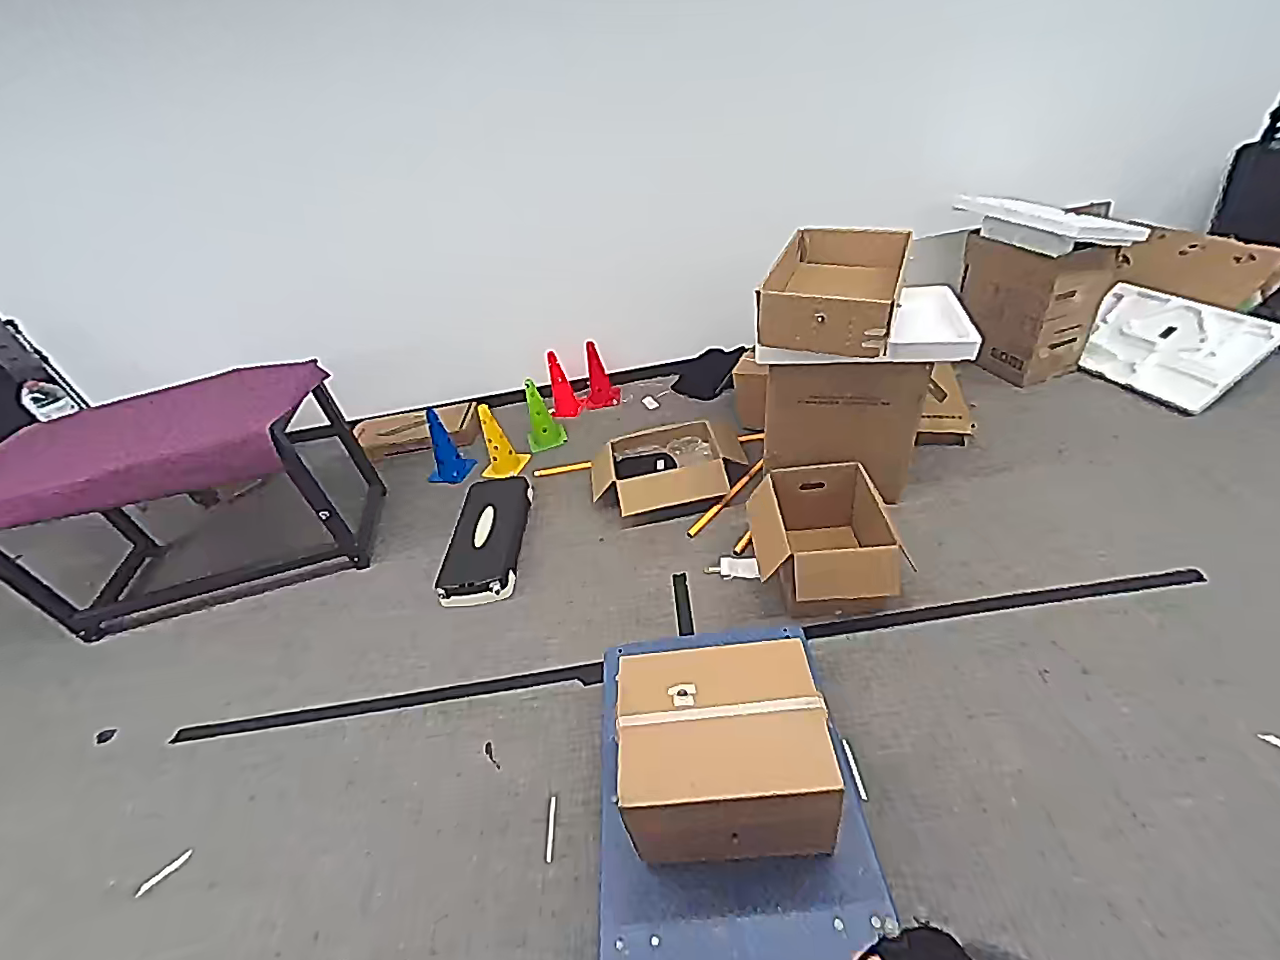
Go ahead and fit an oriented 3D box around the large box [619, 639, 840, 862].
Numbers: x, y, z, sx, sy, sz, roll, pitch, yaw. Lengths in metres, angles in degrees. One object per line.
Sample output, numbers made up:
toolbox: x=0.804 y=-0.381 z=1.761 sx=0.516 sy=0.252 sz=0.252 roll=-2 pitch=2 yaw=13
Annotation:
large box: x=0.182 y=0.589 z=1.178 sx=0.408 sy=0.320 sz=0.320 roll=-9 pitch=37 yaw=5
